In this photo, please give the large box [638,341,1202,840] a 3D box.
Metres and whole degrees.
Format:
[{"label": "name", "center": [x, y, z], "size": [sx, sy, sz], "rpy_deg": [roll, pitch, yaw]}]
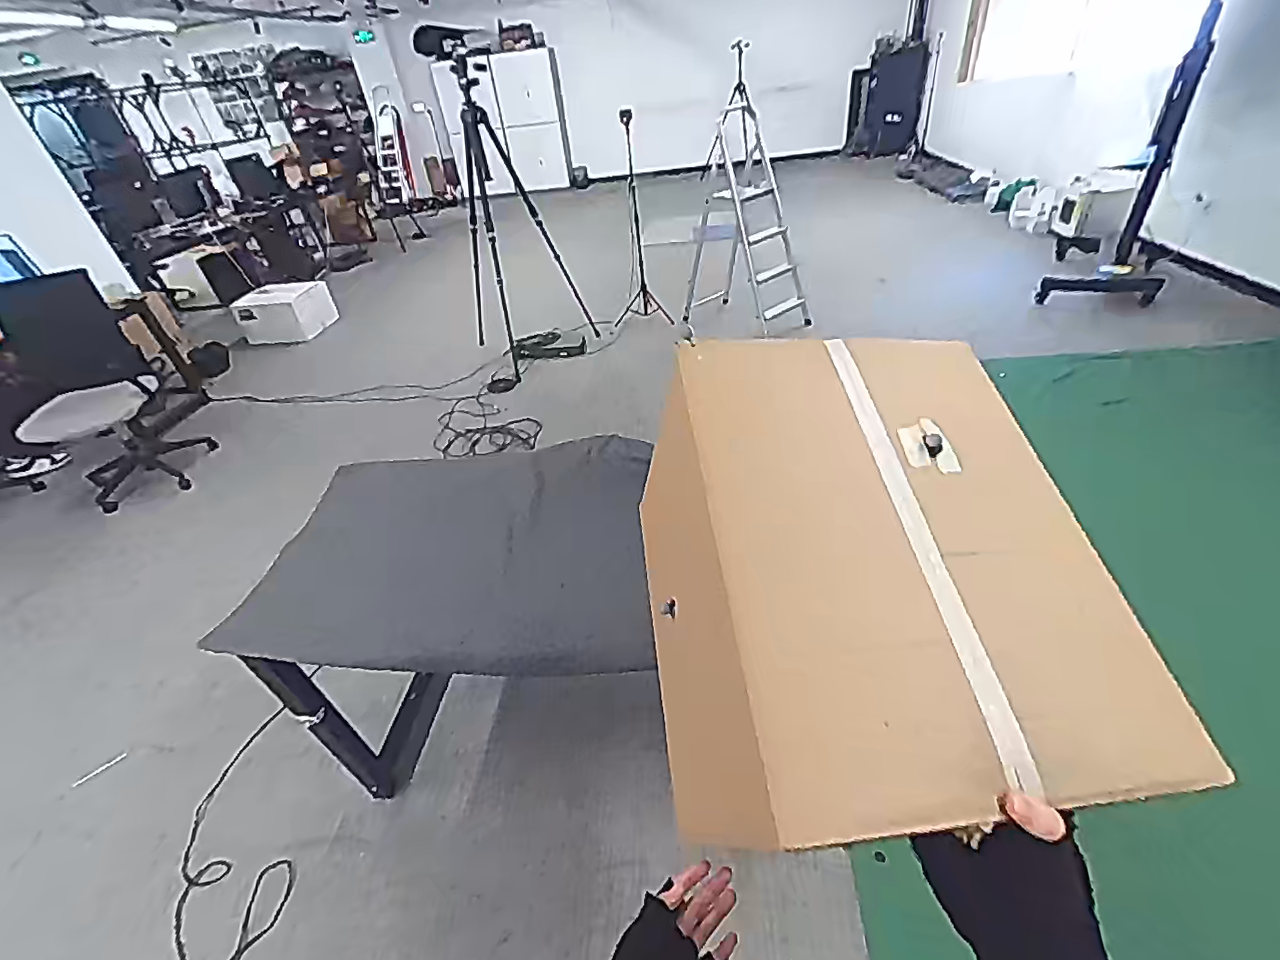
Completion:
[{"label": "large box", "center": [0.182, 0.112, 0.560], "size": [0.320, 0.320, 0.408], "rpy_deg": [-2, 56, -9]}]
